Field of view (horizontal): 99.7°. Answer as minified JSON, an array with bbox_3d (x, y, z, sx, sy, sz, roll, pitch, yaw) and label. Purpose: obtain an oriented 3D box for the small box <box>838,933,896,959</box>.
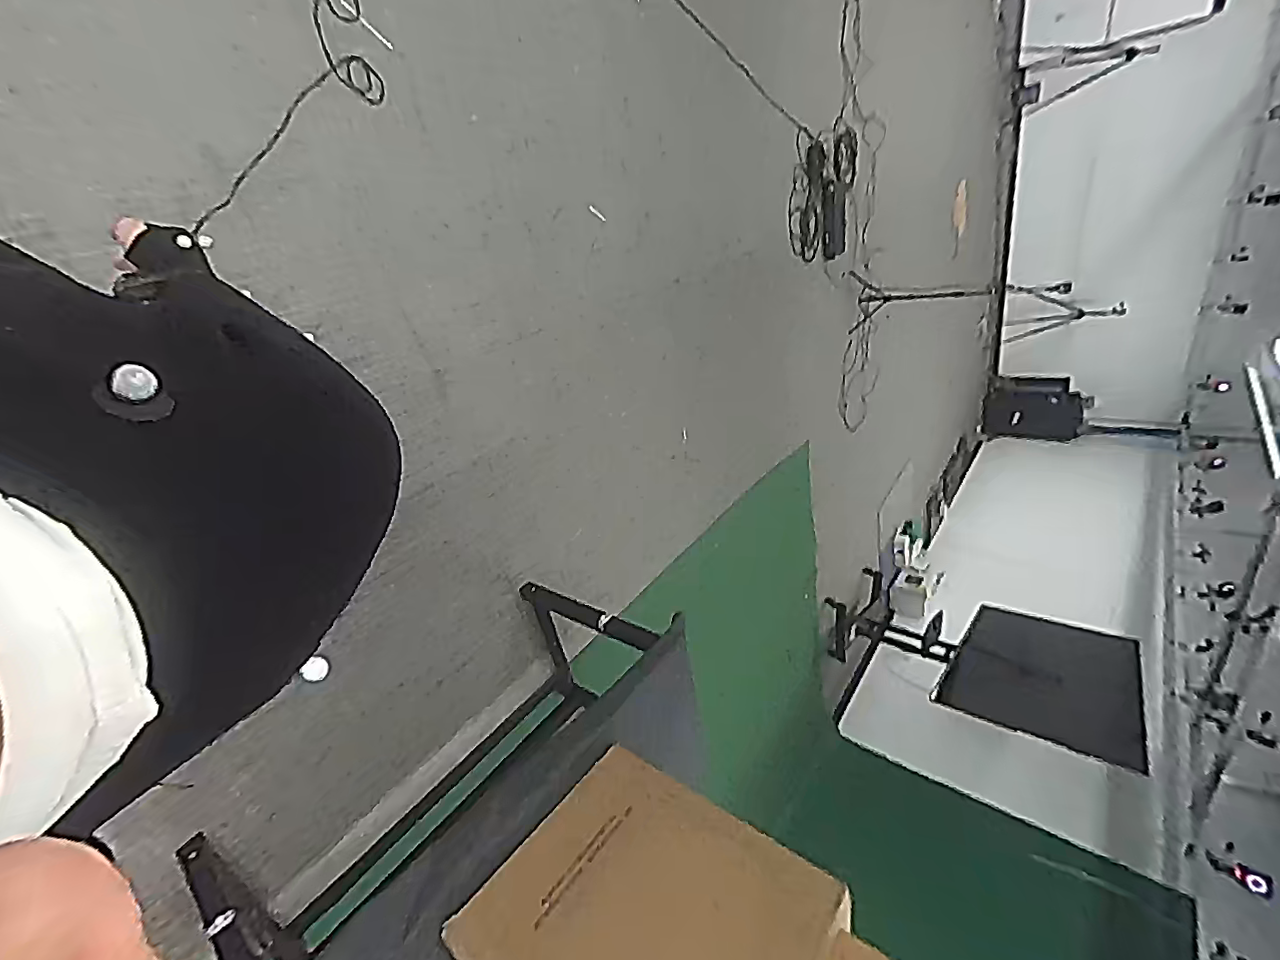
[{"bbox_3d":[0.428,0.967,0.954,0.168,0.176,0.179,-33,119,-42],"label":"small box"}]
